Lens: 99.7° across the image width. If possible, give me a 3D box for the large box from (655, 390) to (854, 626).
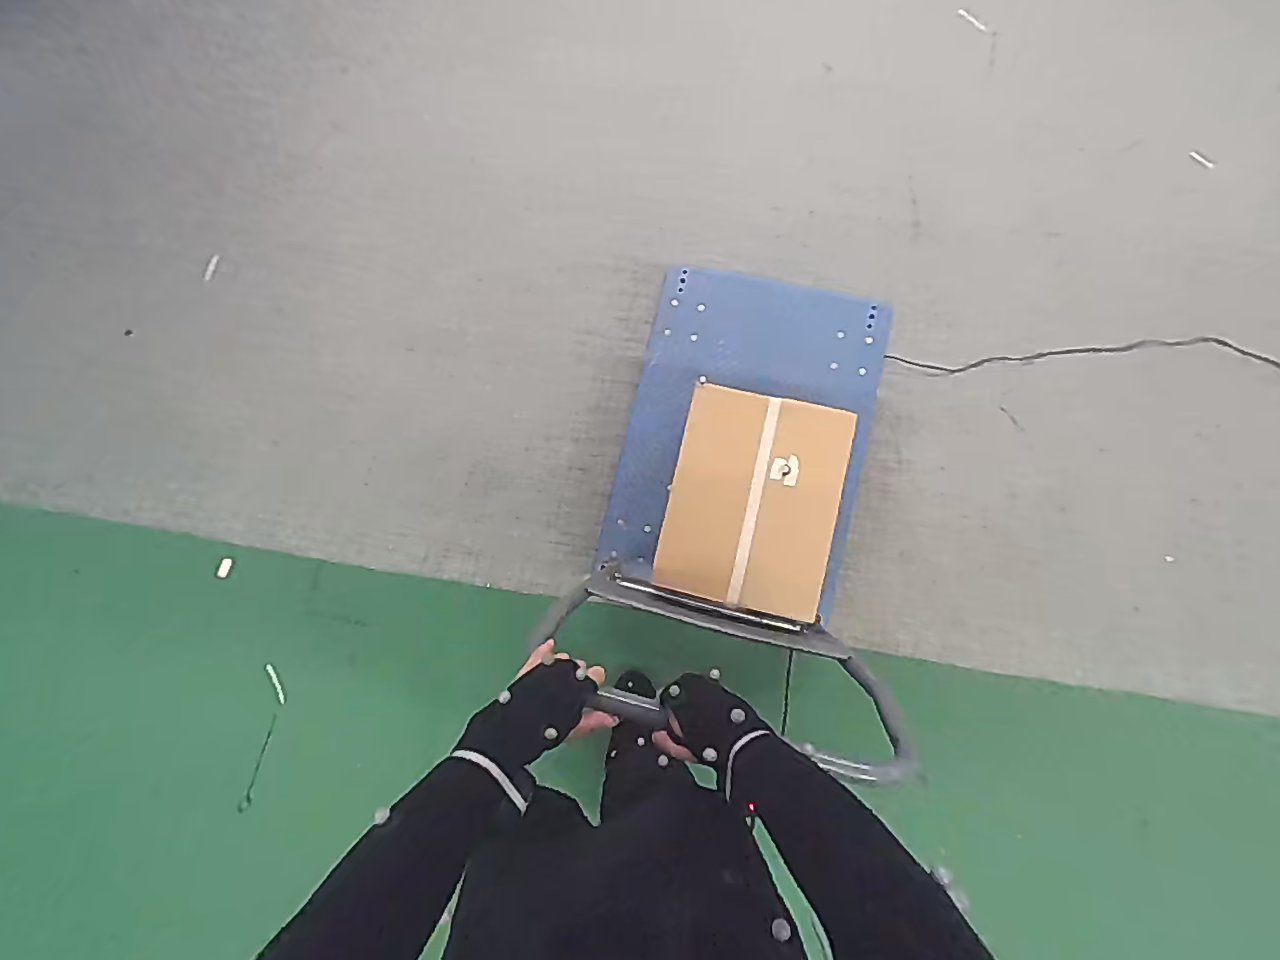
[{"bbox_3d":[0.231,0.067,1.162,0.320,0.320,0.408,13,83,6],"label":"large box"}]
